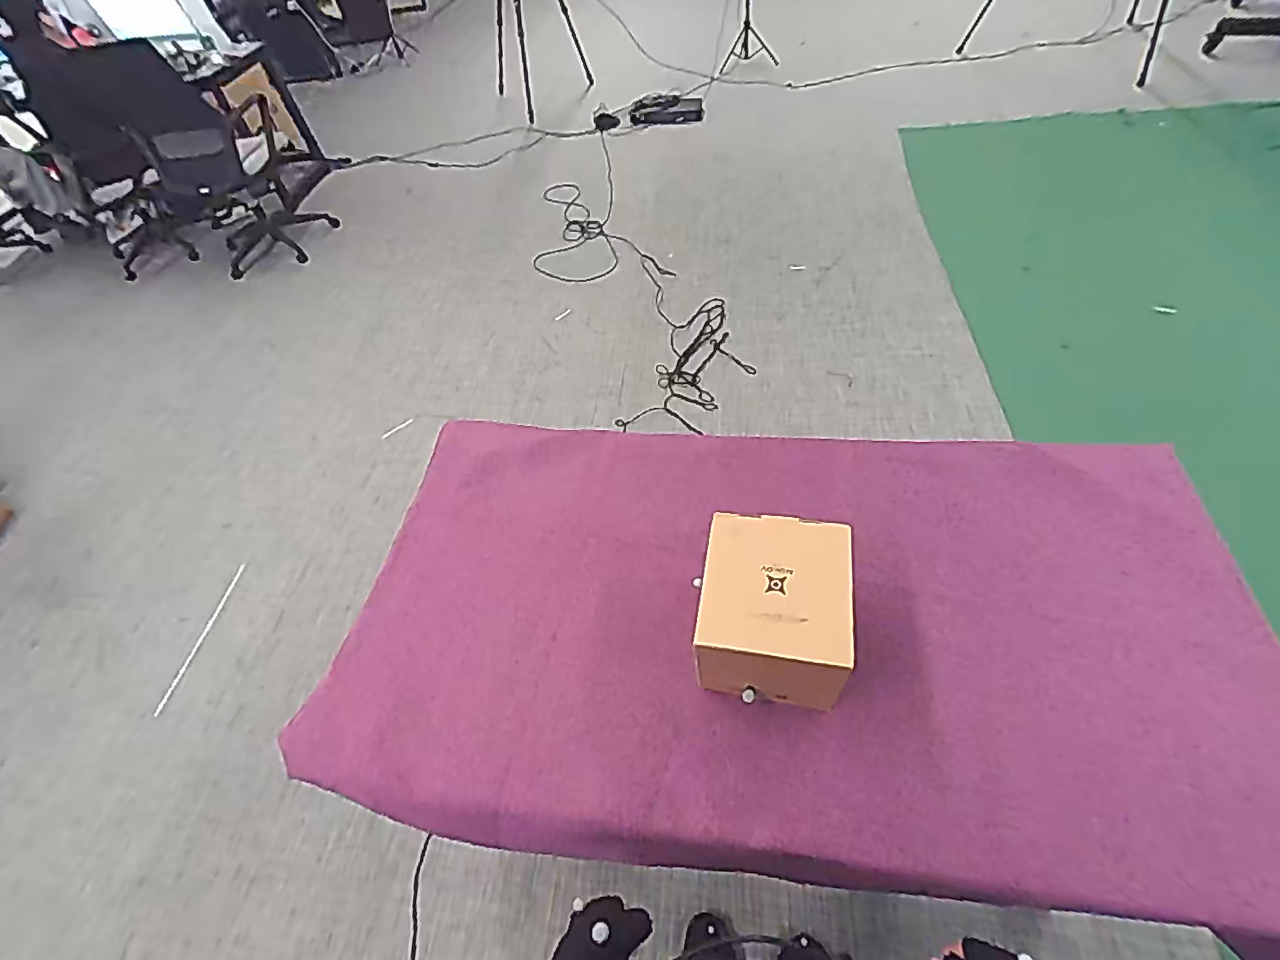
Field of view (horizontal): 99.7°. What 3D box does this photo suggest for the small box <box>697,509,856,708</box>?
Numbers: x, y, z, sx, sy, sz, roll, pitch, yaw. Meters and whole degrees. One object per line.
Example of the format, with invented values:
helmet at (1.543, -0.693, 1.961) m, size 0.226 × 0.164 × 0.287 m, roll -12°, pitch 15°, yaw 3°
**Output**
small box at (0.166, 0.160, 0.672) m, size 0.168 × 0.176 × 0.179 m, roll 5°, pitch 55°, yaw 13°
